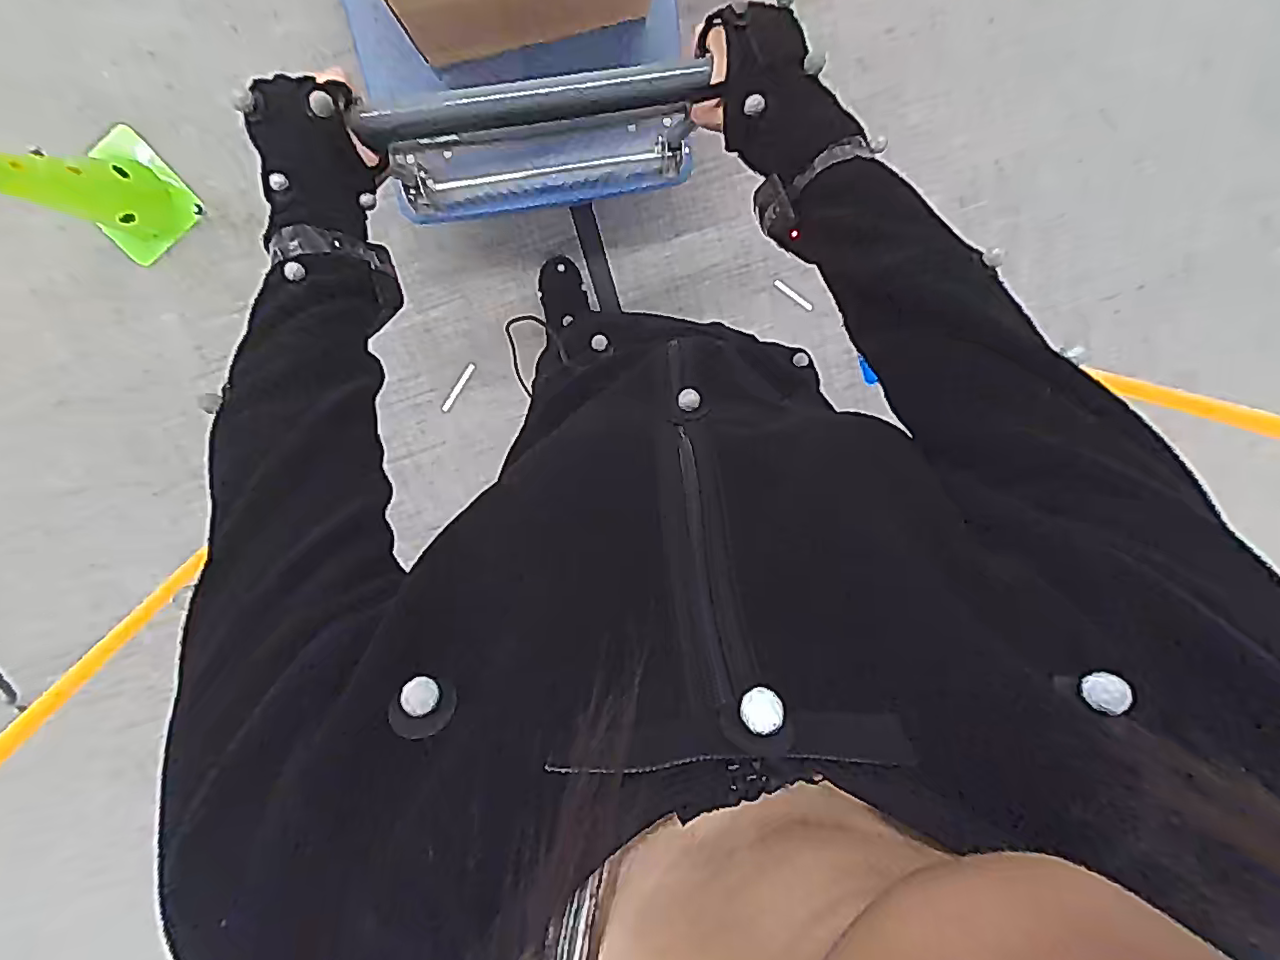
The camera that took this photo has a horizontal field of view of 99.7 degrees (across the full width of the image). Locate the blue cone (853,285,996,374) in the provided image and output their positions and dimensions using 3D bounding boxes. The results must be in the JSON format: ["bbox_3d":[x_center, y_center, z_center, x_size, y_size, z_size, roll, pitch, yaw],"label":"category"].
[{"bbox_3d":[0.676,-0.333,1.248,0.193,0.380,0.192,-22,109,1],"label":"blue cone"}]
